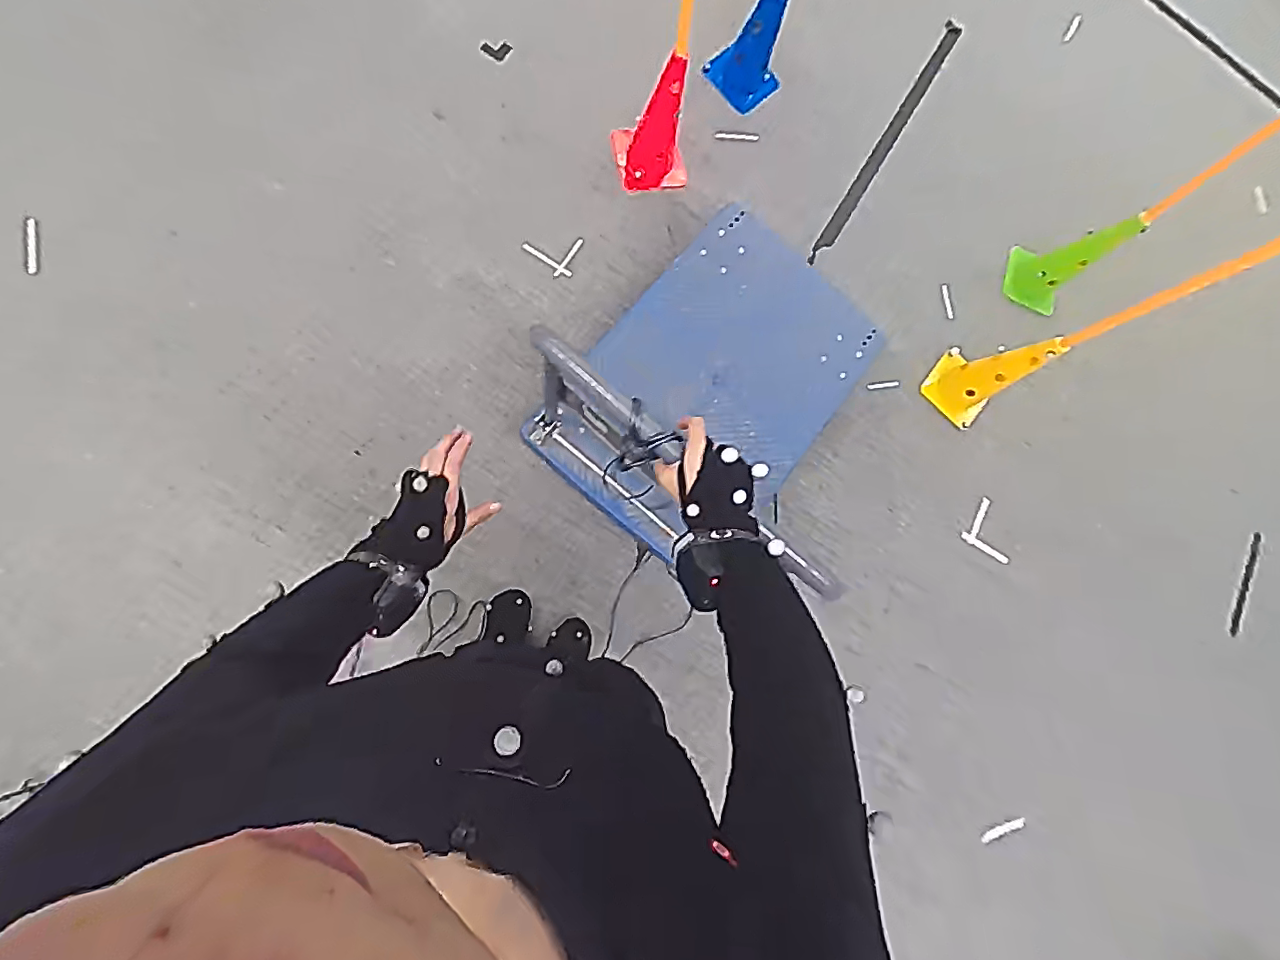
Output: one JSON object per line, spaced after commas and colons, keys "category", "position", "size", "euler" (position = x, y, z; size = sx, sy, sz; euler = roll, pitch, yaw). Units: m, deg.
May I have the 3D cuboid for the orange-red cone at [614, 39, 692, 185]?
{"category": "orange-red cone", "position": [0.068, -0.990, 1.432], "size": [0.199, 0.360, 0.198], "euler": [-12, 85, -14]}

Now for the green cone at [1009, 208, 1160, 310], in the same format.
{"category": "green cone", "position": [1.369, -0.709, 1.649], "size": [0.200, 0.368, 0.202], "euler": [19, 80, -8]}

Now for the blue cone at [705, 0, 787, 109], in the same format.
{"category": "blue cone", "position": [0.355, -1.307, 1.552], "size": [0.192, 0.380, 0.193], "euler": [-43, 92, -13]}
